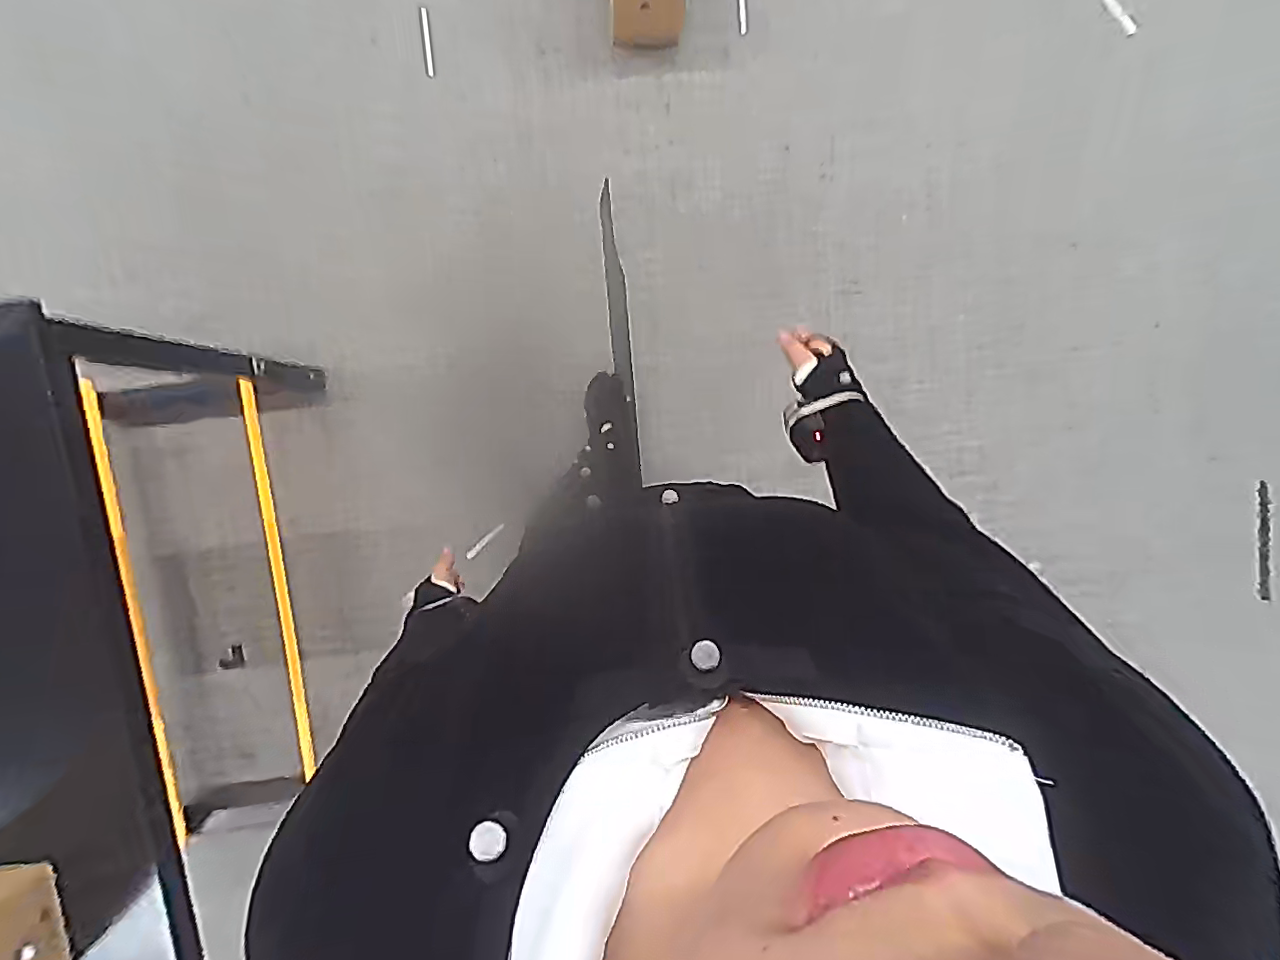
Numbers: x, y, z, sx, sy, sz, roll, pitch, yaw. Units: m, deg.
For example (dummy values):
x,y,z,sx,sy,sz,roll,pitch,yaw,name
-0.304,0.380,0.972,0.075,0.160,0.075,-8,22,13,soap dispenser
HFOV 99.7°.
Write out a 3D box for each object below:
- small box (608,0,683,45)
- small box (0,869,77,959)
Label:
x,y,z,sx,sy,sz,roll,pitch,yaw,name
0.009,-1.179,1.288,0.179,0.176,0.168,-4,96,-4,small box
-0.888,0.635,0.680,0.179,0.176,0.168,-5,96,-2,small box
